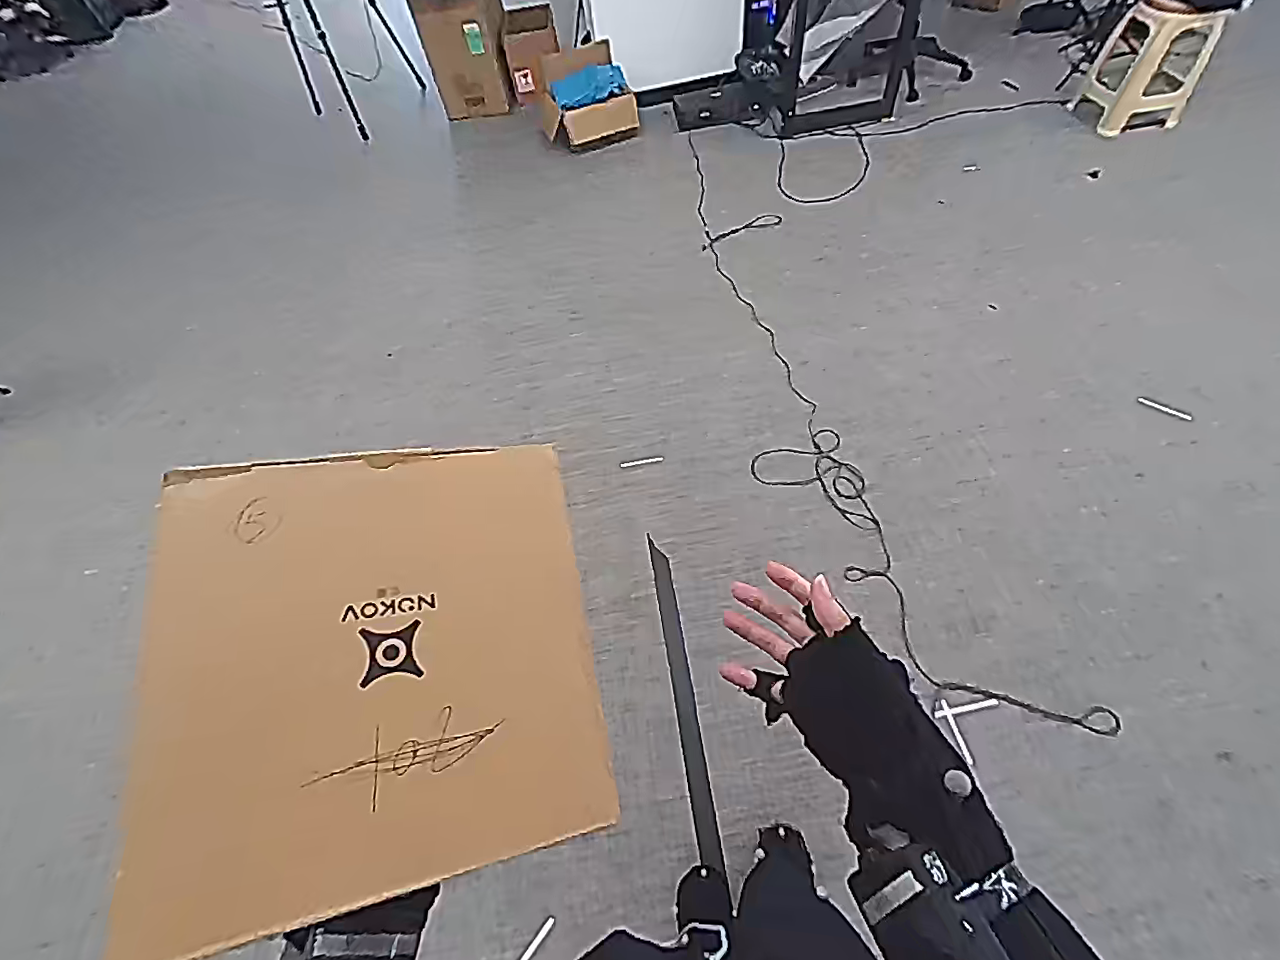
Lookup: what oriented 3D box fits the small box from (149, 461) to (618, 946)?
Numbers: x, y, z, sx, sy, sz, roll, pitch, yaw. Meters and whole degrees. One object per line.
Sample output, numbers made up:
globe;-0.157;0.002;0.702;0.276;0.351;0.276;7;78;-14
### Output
small box;-0.123;0.105;0.305;0.168;0.176;0.179;-4;68;-19
